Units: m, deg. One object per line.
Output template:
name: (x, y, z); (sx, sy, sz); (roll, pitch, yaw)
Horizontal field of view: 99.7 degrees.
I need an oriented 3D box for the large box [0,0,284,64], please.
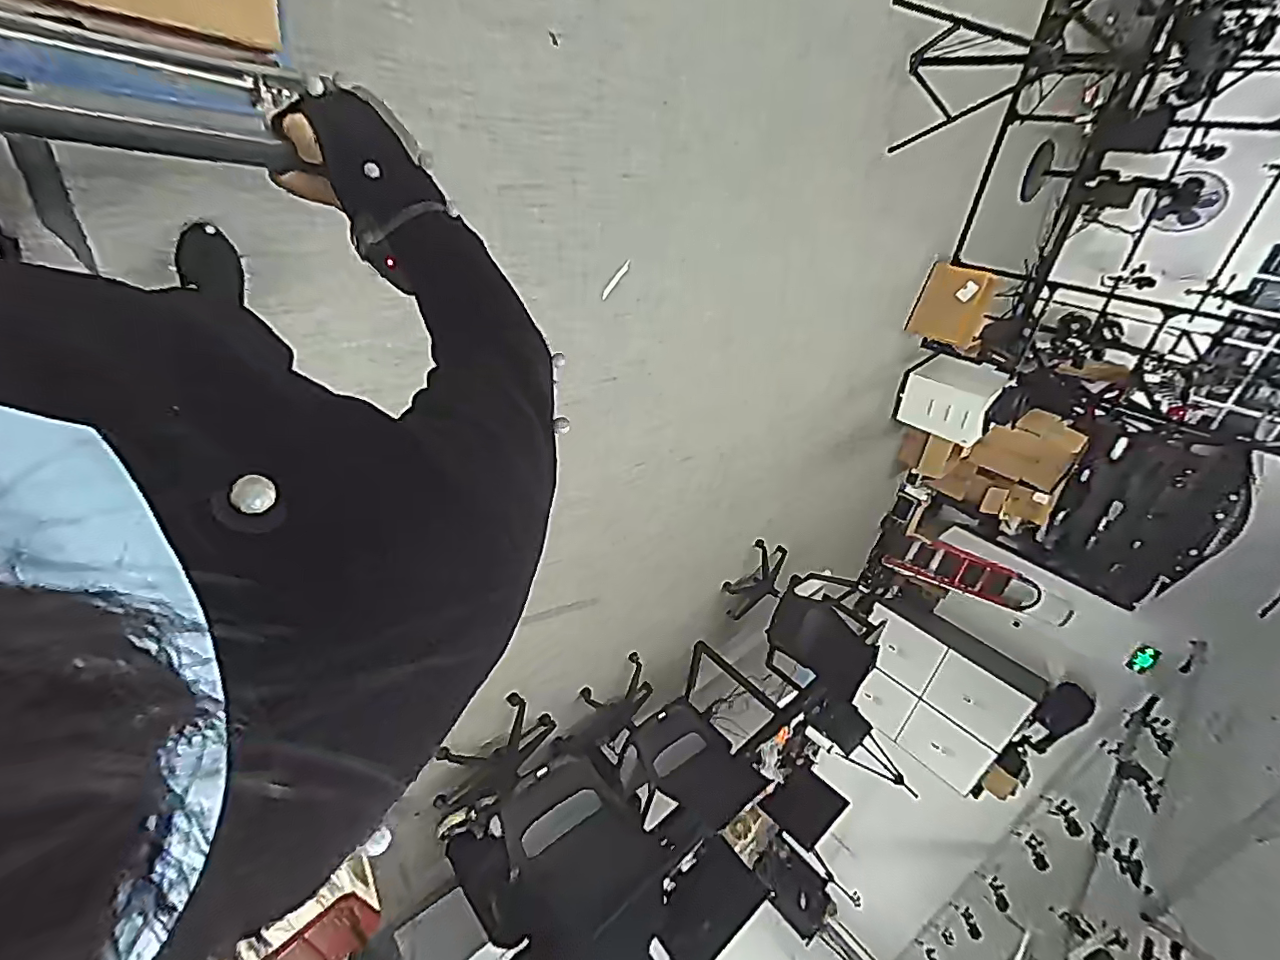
large box: (-0.690, -0.698, 0.598); (0.408, 0.320, 0.320); (-18, 130, -40)
